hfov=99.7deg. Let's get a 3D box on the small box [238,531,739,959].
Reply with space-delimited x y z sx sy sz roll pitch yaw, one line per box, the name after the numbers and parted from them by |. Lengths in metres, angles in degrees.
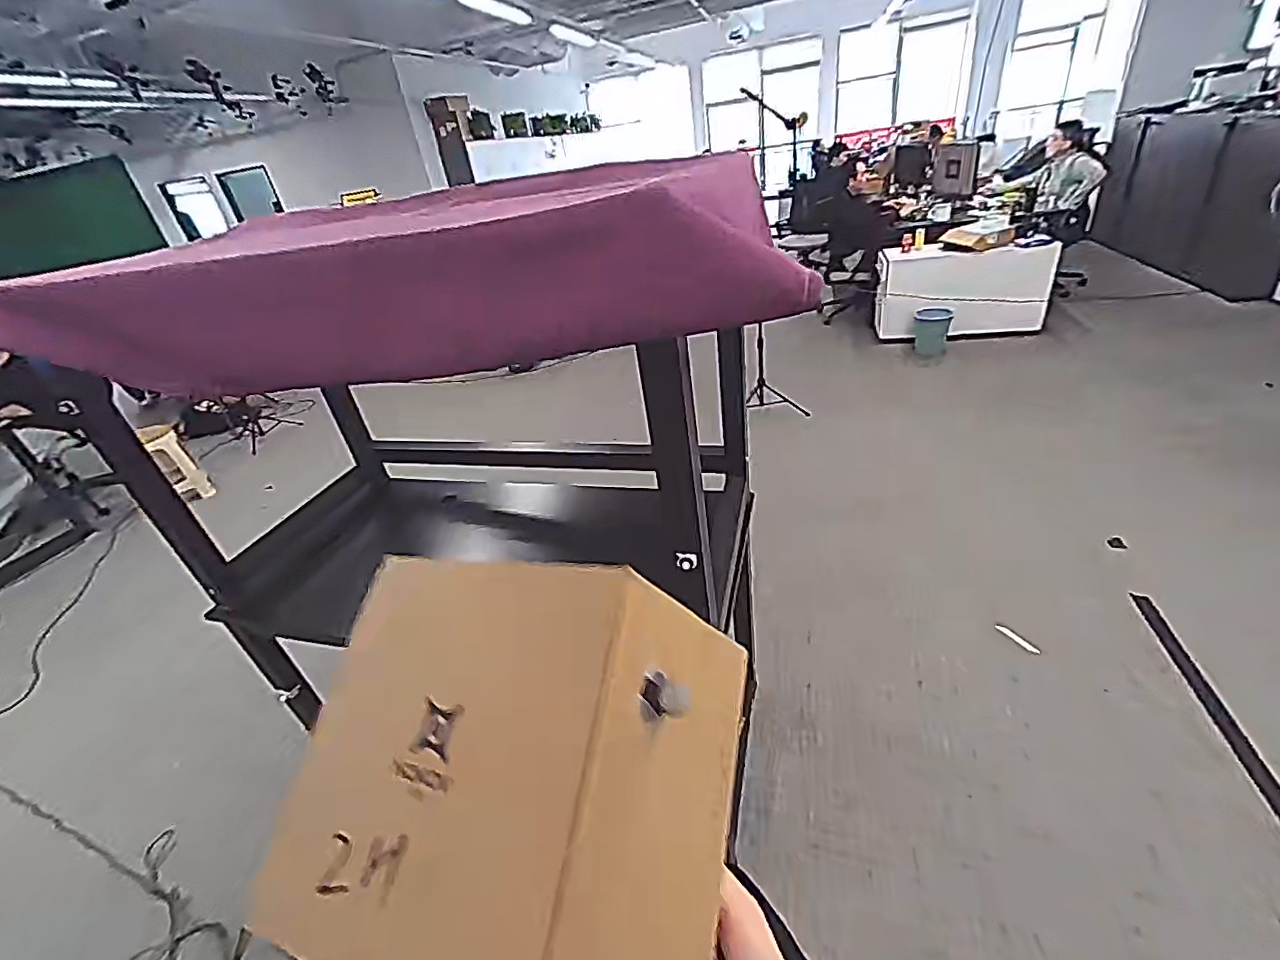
-0.053 0.141 0.295 0.168 0.176 0.179 -2 62 30 | small box
